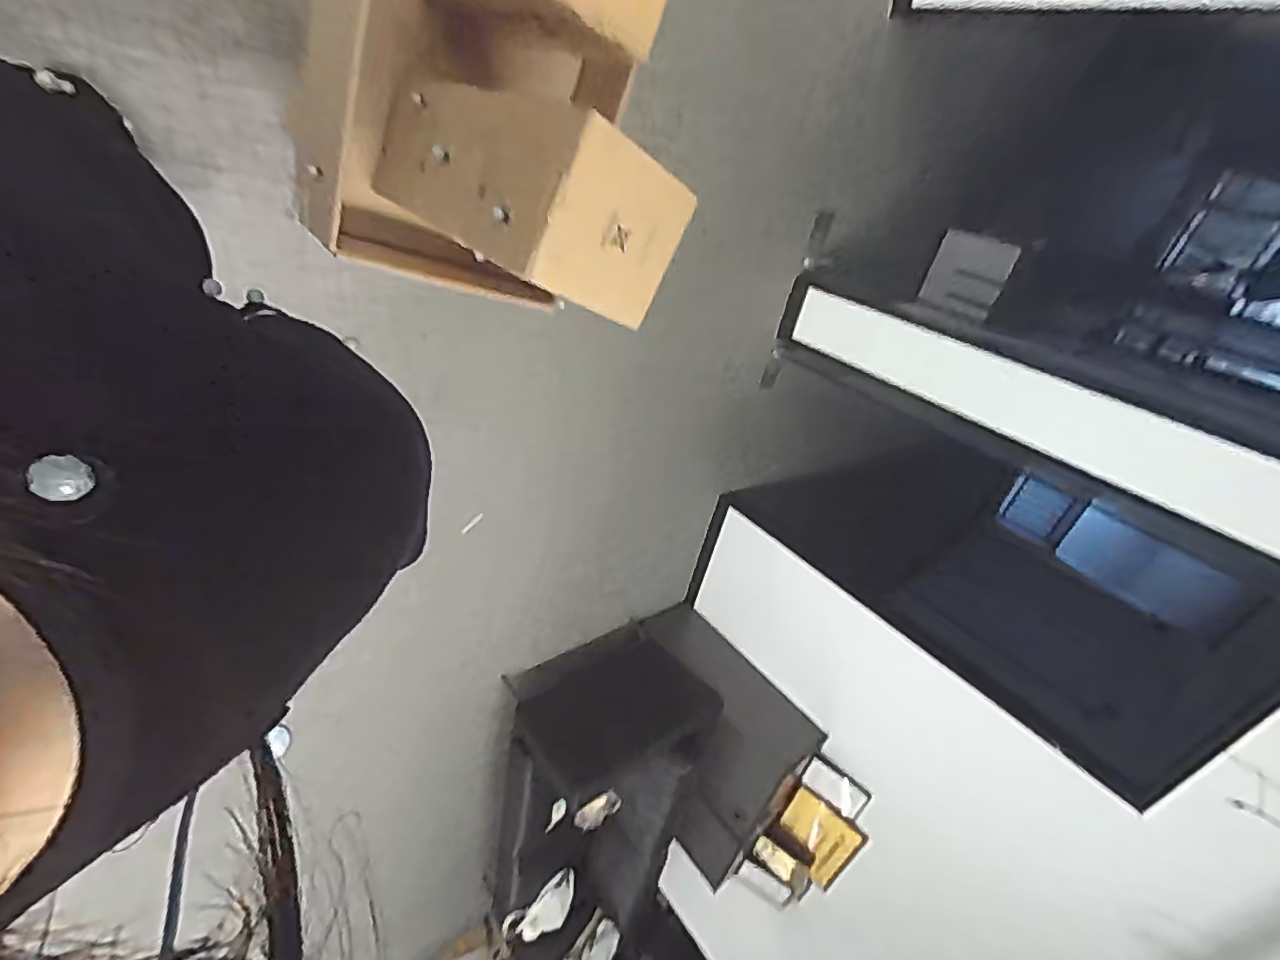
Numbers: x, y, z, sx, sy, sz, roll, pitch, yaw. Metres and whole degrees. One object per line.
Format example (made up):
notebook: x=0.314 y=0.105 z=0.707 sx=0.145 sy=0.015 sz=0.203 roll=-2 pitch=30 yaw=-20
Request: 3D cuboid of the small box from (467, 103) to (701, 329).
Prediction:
small box: x=-0.070 y=-0.302 z=0.626 sx=0.179 sy=0.176 sz=0.168 roll=8 pitch=116 yaw=-49

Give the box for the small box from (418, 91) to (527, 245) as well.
small box: x=-0.170 y=-0.387 z=0.725 sx=0.179 sy=0.176 sz=0.168 roll=7 pitch=116 yaw=-47

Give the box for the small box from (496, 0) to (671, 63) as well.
small box: x=-0.064 y=-0.630 z=0.626 sx=0.168 sy=0.176 sz=0.179 roll=-3 pitch=125 yaw=-44
